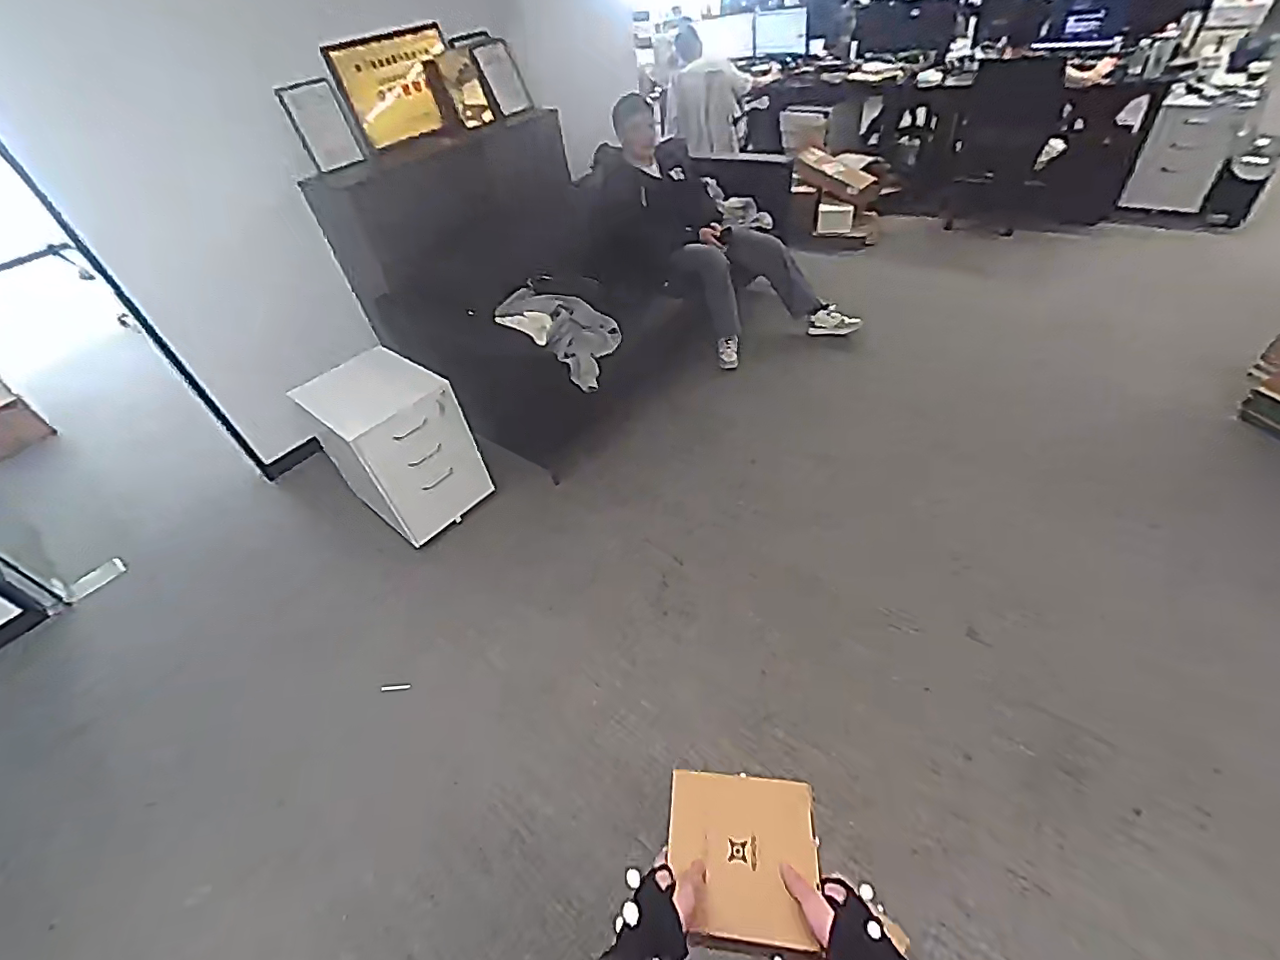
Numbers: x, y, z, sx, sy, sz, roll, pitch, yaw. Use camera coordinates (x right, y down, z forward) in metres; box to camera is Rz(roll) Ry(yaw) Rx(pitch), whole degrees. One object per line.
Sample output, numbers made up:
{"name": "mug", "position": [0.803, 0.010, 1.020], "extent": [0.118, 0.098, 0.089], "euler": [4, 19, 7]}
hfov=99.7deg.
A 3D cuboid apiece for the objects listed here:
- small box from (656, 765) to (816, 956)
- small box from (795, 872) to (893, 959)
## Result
{"name": "small box", "position": [0.123, 0.495, 0.703], "extent": [0.179, 0.176, 0.168], "euler": [0, 44, 10]}
{"name": "small box", "position": [0.417, 0.950, 1.117], "extent": [0.179, 0.176, 0.168], "euler": [5, 43, 18]}
